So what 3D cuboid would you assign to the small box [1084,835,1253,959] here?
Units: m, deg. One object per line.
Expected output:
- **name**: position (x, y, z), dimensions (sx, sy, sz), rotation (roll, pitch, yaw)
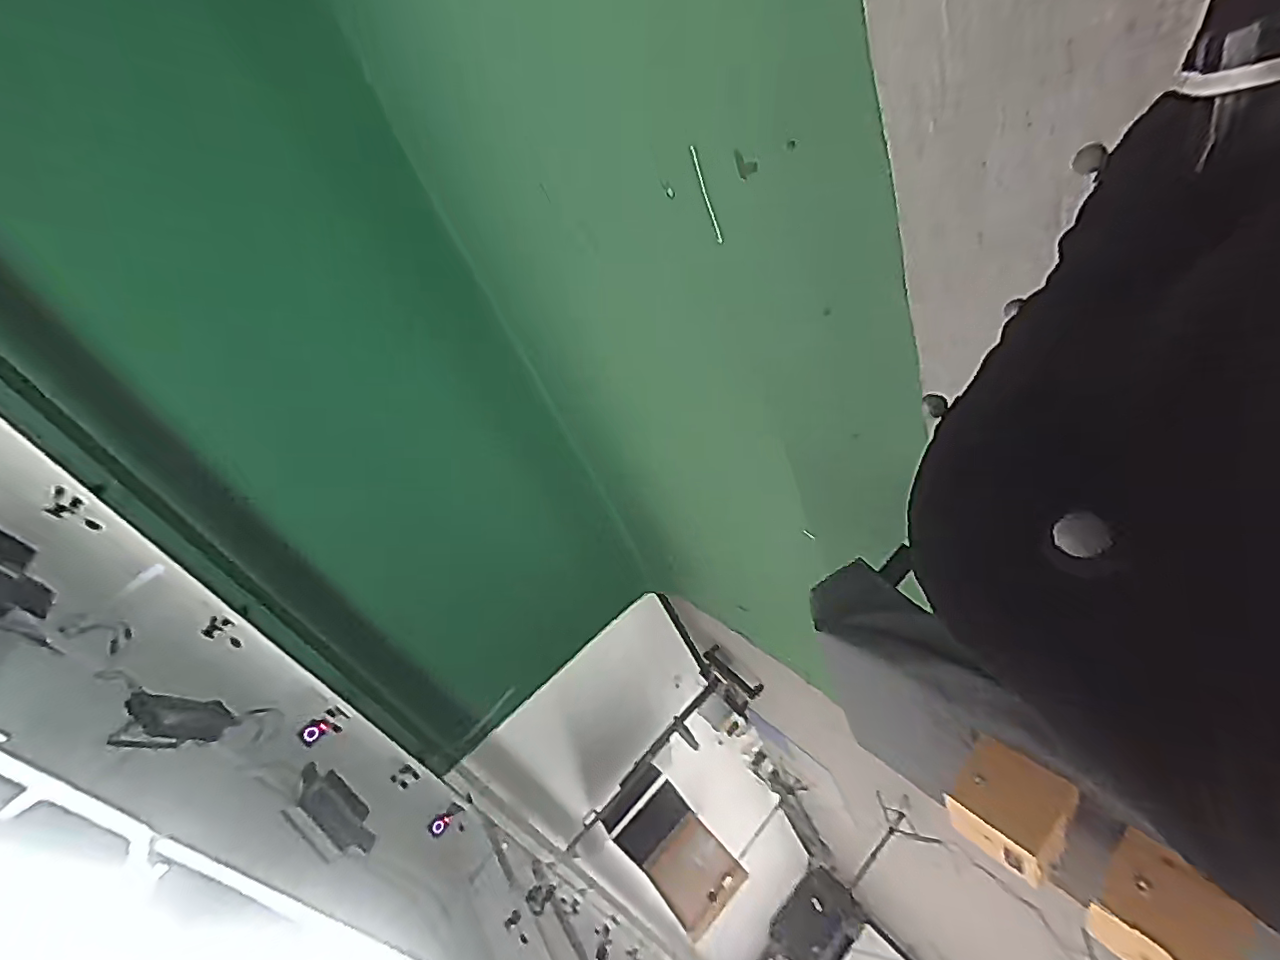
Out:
- **small box**: position (0.917, 0.773, 0.945), dimensions (0.168, 0.176, 0.179), rotation (25, 149, 52)
